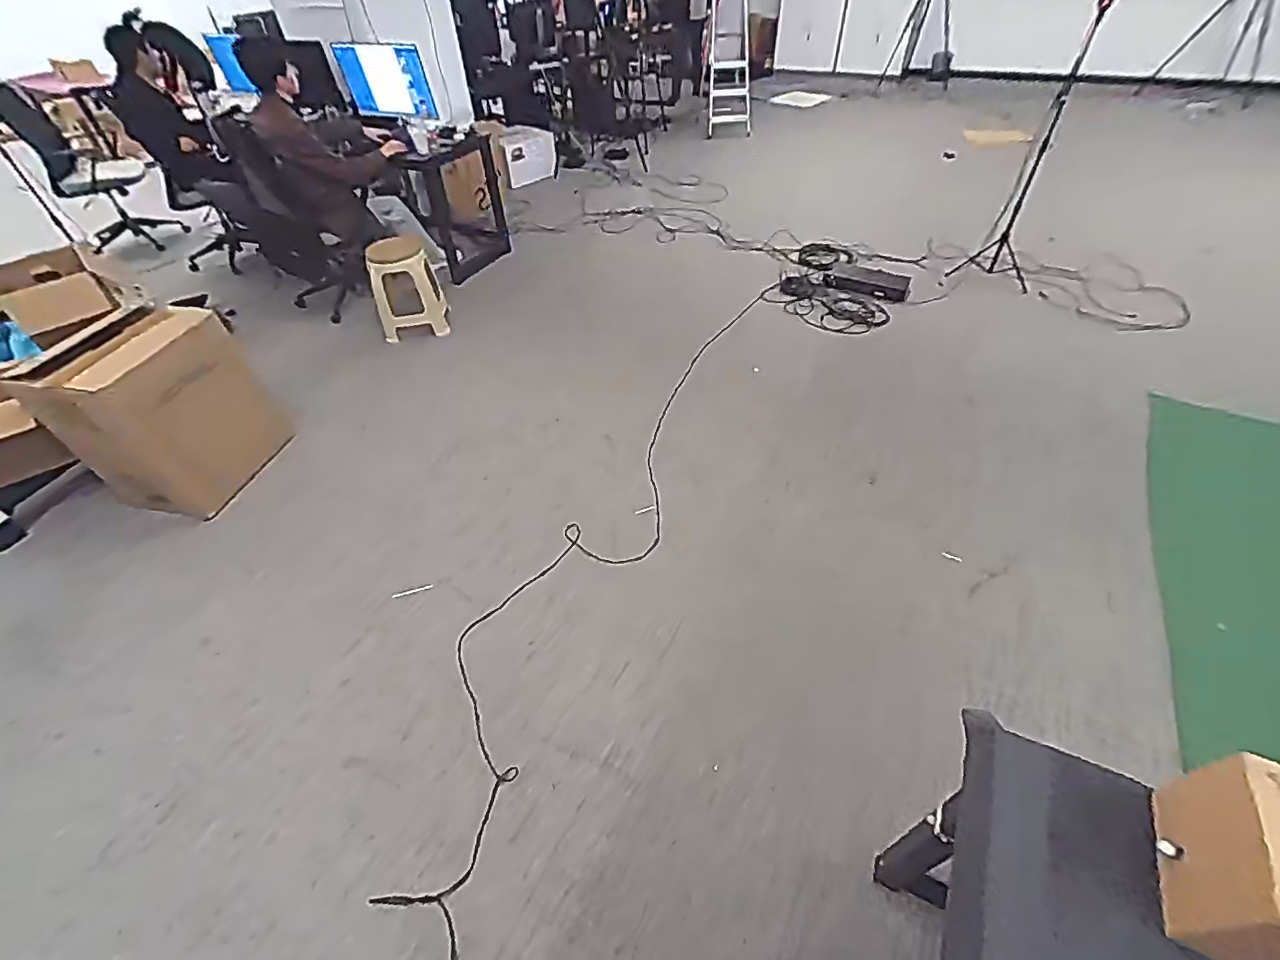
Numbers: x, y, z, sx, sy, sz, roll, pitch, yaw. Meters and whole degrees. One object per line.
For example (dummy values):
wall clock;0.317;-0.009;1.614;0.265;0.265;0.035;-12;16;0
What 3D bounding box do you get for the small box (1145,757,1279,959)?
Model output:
small box;0.715;0.455;0.601;0.168;0.176;0.179;21;50;19
